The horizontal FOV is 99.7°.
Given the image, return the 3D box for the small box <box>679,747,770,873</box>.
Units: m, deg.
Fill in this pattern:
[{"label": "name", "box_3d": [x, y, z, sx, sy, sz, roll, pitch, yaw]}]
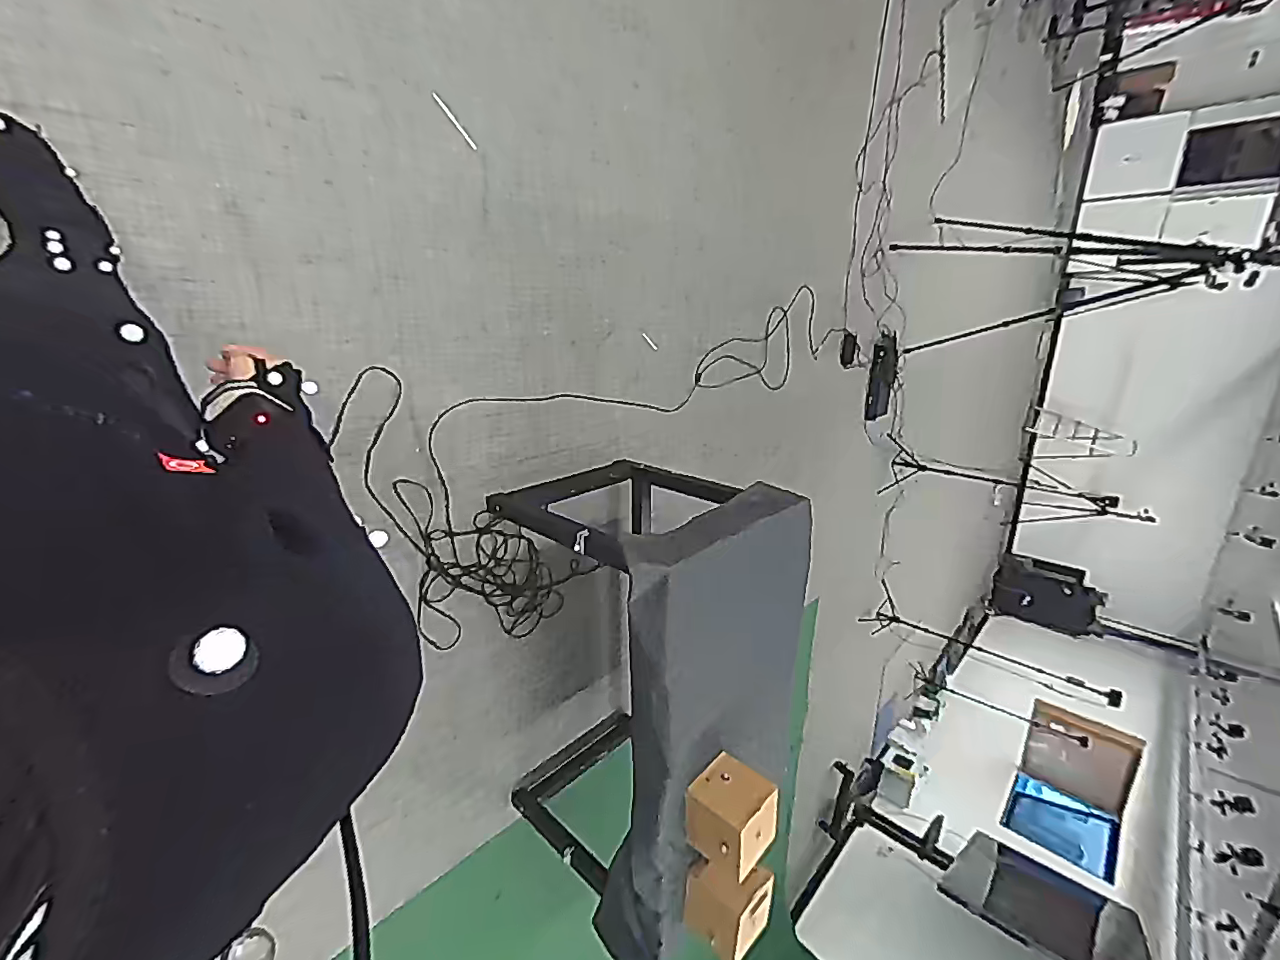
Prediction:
[{"label": "small box", "box_3d": [0.212, 0.831, 1.379, 0.168, 0.176, 0.179, -20, 116, -43]}]
